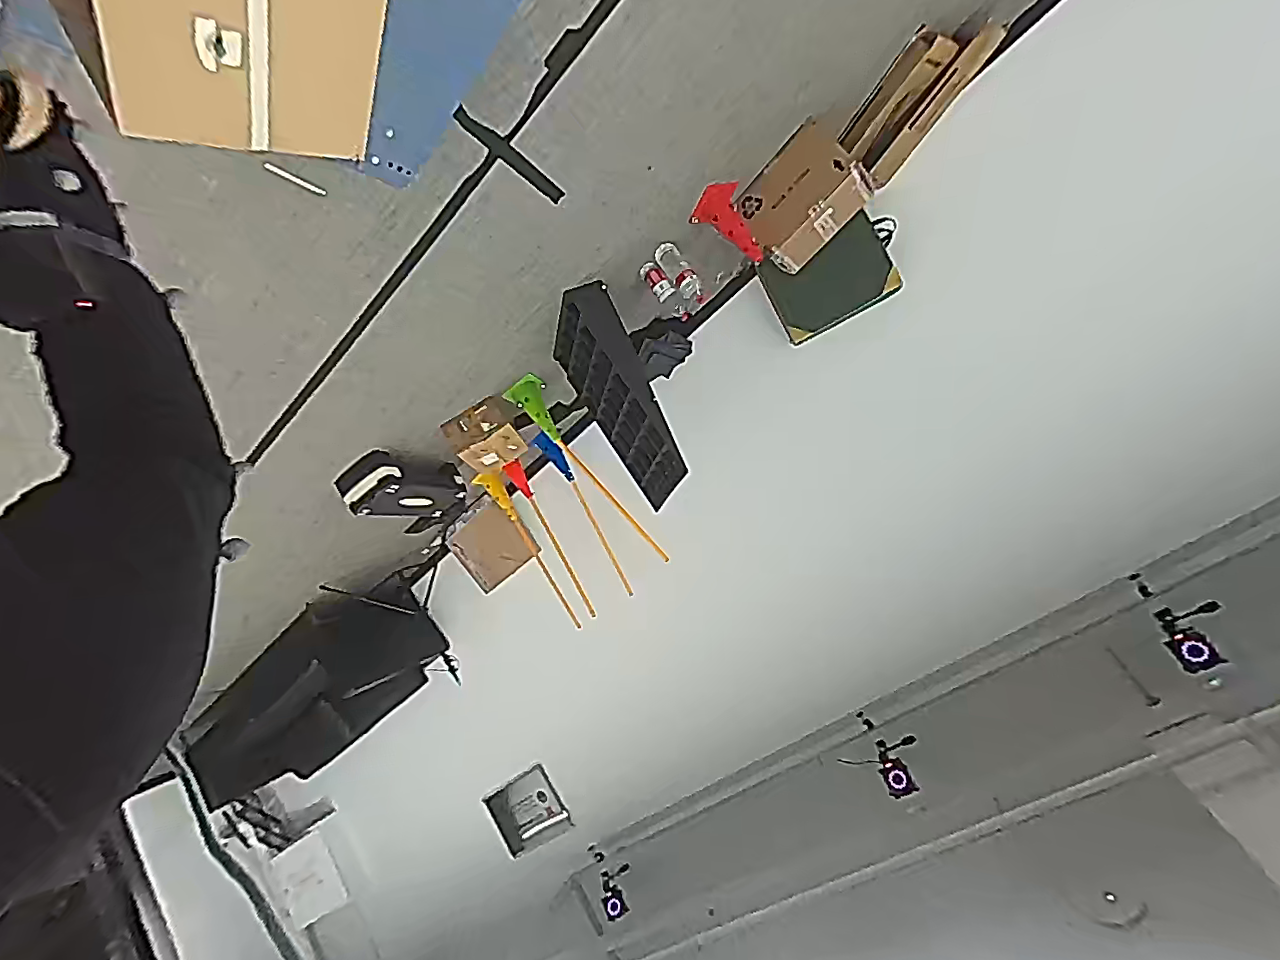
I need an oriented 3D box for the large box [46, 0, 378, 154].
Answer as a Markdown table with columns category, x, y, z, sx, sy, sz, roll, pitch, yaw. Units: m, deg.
| category | x | y | z | sx | sy | sz | roll | pitch | yaw |
| --- | --- | --- | --- | --- | --- | --- | --- | --- | --- |
| large box | -0.558 | -0.717 | 0.684 | 0.320 | 0.320 | 0.408 | -24 | 165 | -43 |
